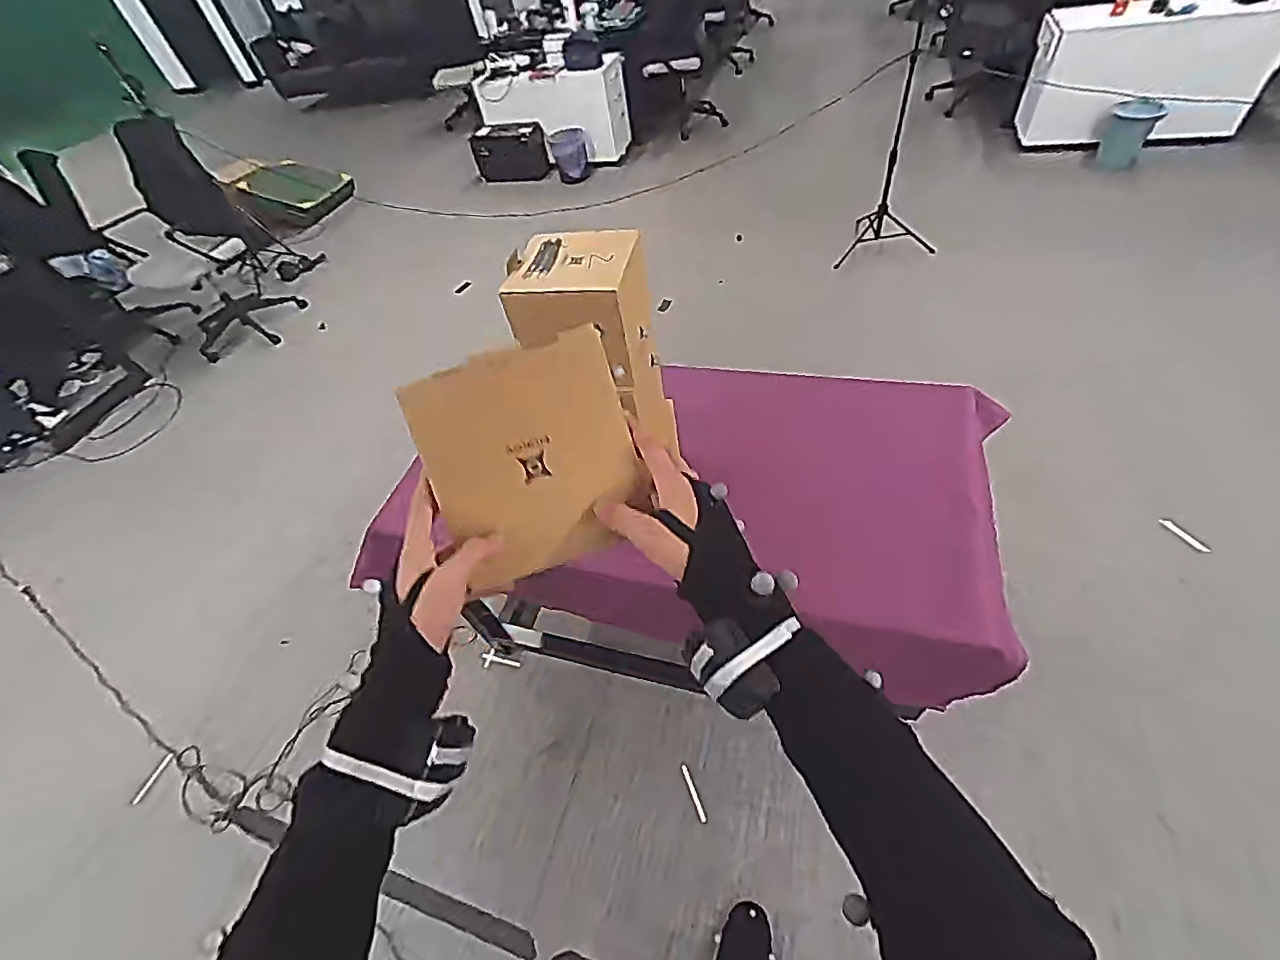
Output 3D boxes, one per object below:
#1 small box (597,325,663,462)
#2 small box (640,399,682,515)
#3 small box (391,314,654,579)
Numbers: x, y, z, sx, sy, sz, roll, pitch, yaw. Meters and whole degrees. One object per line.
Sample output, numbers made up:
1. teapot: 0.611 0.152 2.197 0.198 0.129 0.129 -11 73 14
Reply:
1. small box: -0.058 -0.154 0.957 0.168 0.176 0.179 3 52 14
2. small box: -0.016 -0.042 1.072 0.179 0.176 0.168 0 51 10
3. small box: -0.097 -0.035 0.507 0.168 0.179 0.176 -19 9 -5
